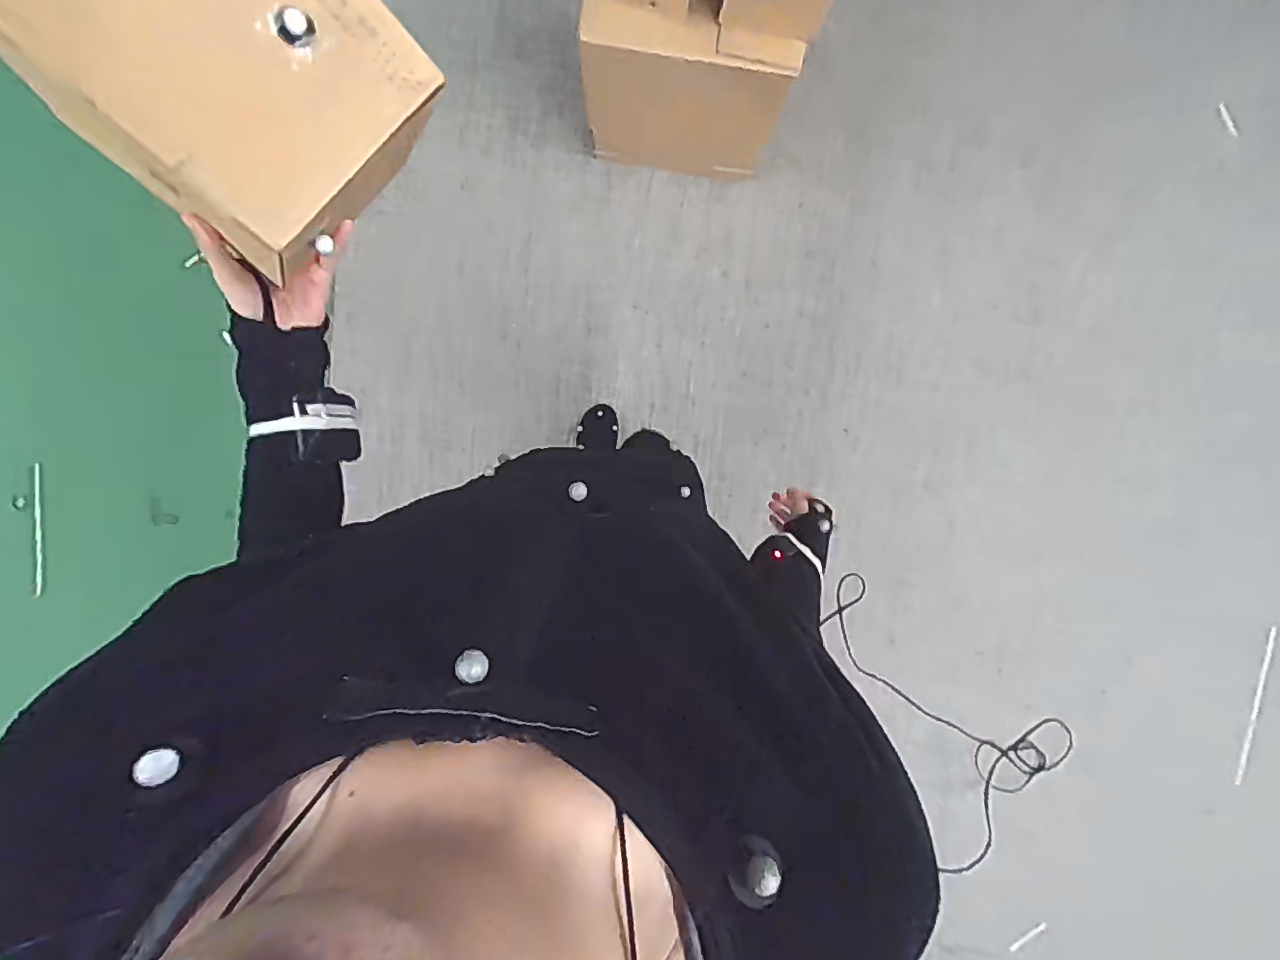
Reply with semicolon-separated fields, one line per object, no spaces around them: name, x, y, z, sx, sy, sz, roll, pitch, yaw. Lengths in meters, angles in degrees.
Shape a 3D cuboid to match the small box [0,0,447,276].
small box;-0.264;-0.276;0.380;0.168;0.179;0.176;43;76;-31
